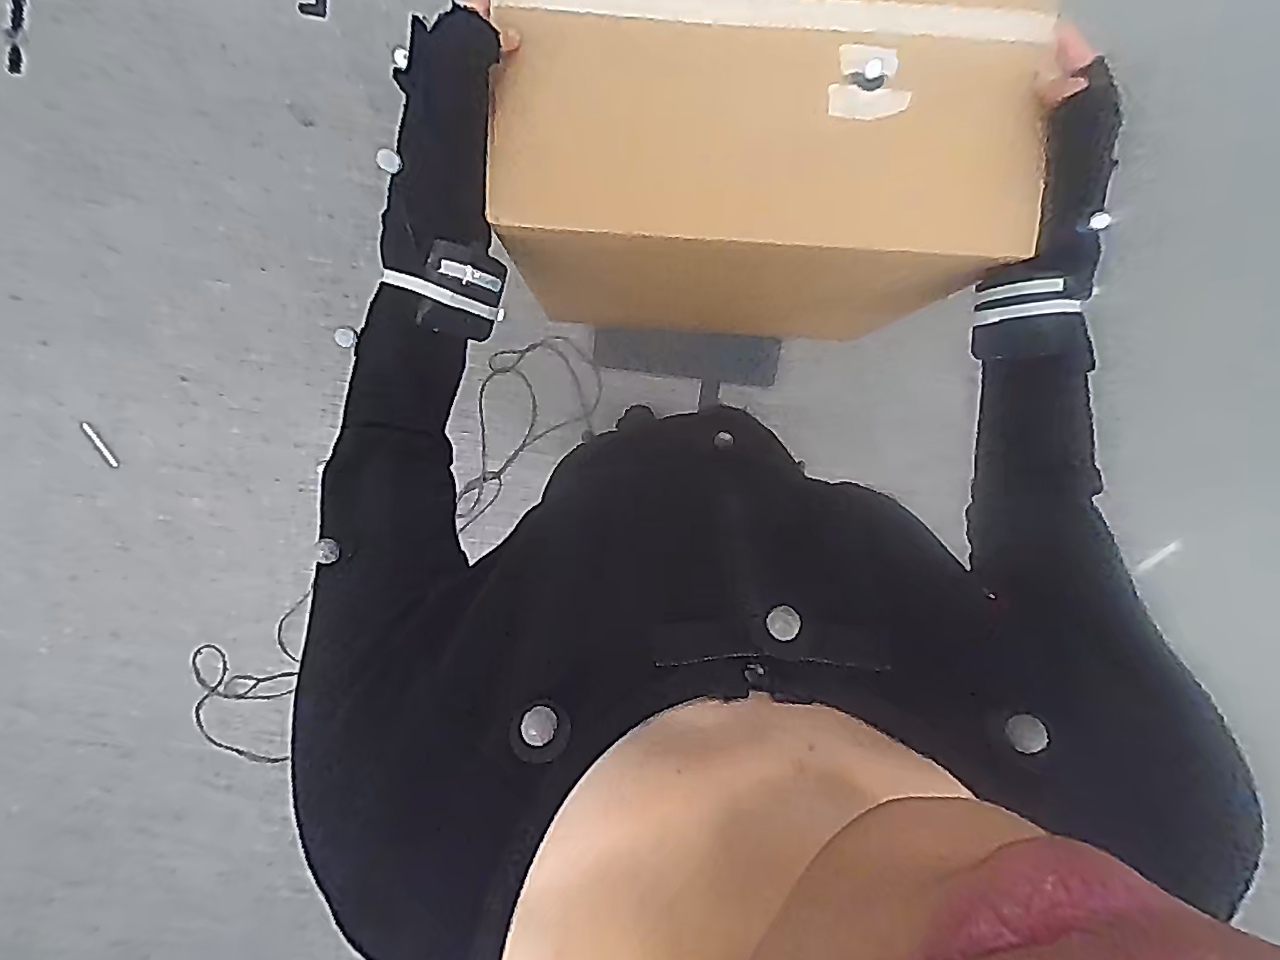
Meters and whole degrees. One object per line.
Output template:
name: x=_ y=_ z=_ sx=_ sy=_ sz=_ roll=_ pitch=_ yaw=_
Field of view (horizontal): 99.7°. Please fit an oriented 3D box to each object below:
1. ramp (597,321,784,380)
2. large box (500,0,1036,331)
ramp: x=0.178 y=-0.769 z=1.325 sx=0.509 sy=0.206 sz=0.991 roll=4 pitch=96 yaw=-2
large box: x=0.091 y=-0.347 z=0.552 sx=0.408 sy=0.320 sz=0.320 roll=3 pitch=93 yaw=-2
